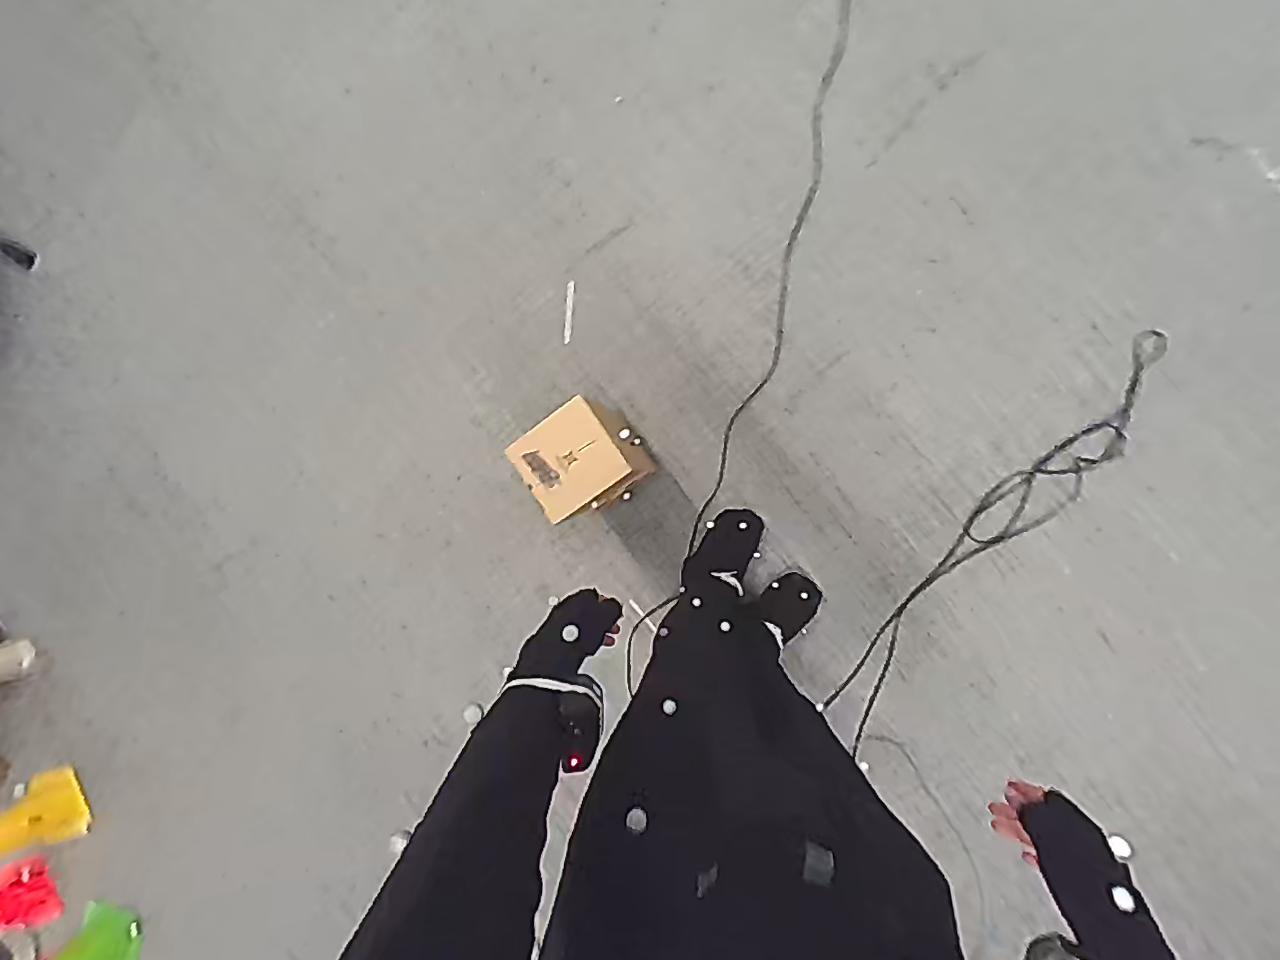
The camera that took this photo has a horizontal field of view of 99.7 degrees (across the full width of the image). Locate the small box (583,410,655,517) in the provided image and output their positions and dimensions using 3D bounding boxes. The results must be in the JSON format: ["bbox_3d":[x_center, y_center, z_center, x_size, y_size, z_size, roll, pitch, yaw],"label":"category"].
[{"bbox_3d":[-0.083,-0.044,1.187,0.168,0.176,0.179,-36,88,10],"label":"small box"}]

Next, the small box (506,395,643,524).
[{"bbox_3d":[-0.113,-0.038,1.025,0.179,0.176,0.168,-35,88,9],"label":"small box"}]
